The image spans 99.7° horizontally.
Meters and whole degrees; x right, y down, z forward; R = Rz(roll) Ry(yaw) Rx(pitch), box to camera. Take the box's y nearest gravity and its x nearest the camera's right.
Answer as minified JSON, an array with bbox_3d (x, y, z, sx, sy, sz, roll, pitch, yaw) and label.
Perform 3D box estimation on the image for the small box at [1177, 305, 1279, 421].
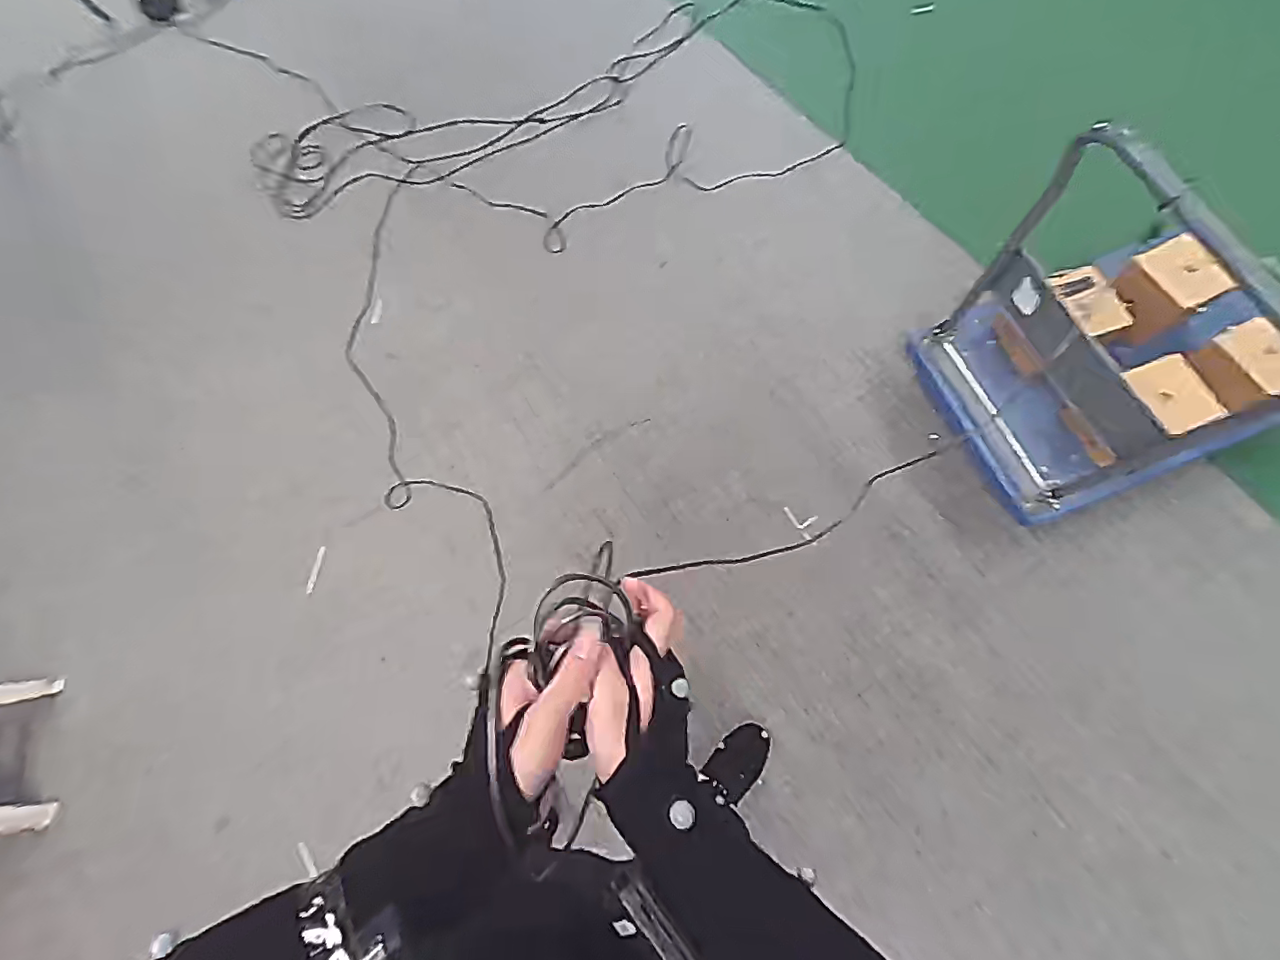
[{"bbox_3d":[1.398,-0.268,1.267,0.179,0.176,0.168,-26,71,-2],"label":"small box"}]

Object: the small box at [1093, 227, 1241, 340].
[{"bbox_3d":[1.290,-0.481,1.346,0.179,0.176,0.168,-26,72,-3],"label":"small box"}]

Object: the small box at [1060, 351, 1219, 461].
[{"bbox_3d":[1.148,-0.165,1.261,0.179,0.176,0.168,-21,72,-1],"label":"small box"}]
